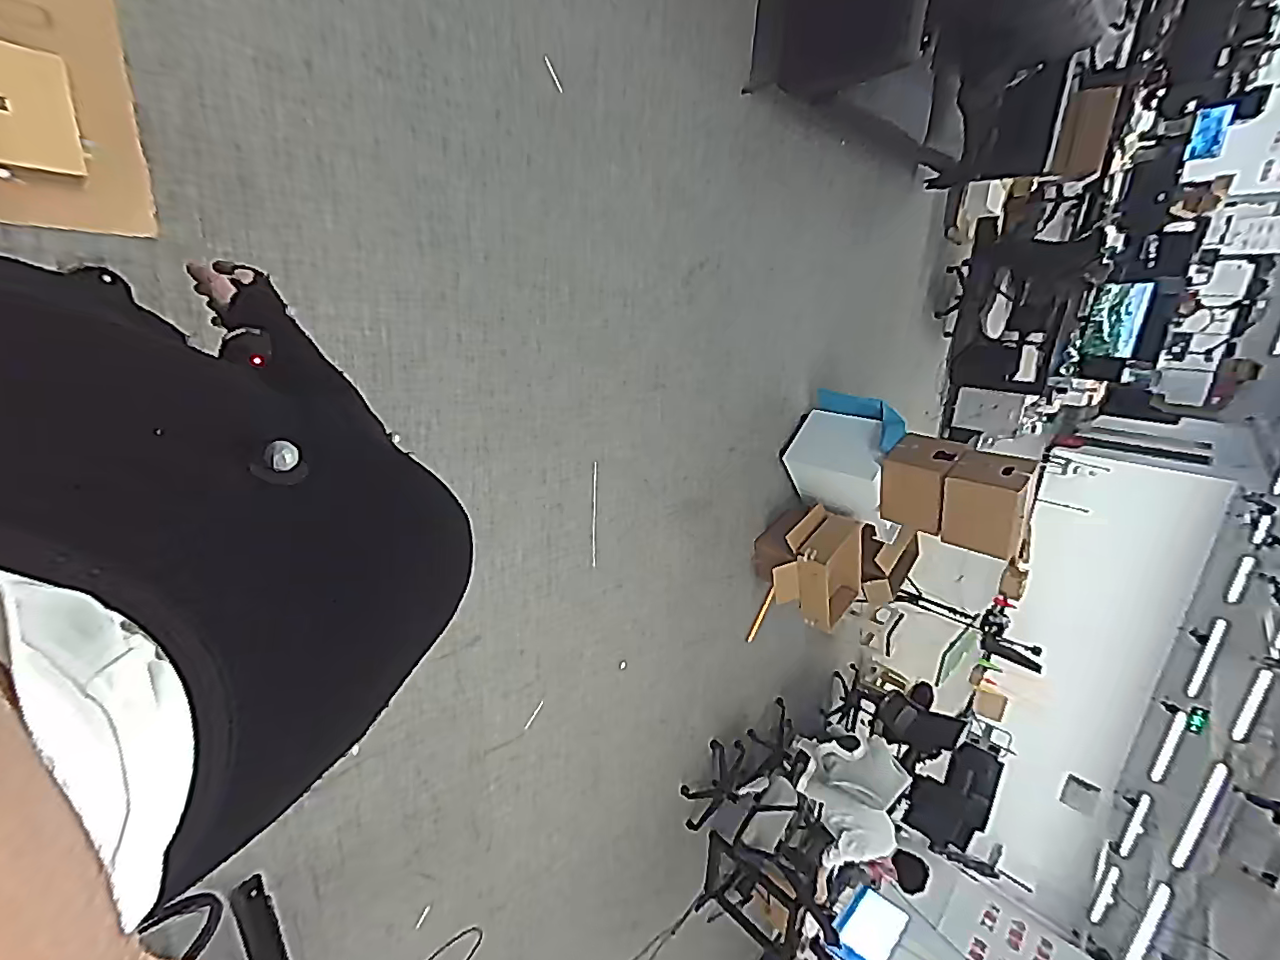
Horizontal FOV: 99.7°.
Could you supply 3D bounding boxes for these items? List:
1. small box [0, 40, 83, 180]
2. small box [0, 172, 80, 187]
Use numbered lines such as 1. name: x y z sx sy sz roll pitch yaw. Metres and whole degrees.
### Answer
1. small box: -1.004 -0.575 0.836 0.179 0.176 0.168 -13 115 -42
2. small box: -1.116 -0.623 0.942 0.179 0.176 0.168 -12 114 -43
